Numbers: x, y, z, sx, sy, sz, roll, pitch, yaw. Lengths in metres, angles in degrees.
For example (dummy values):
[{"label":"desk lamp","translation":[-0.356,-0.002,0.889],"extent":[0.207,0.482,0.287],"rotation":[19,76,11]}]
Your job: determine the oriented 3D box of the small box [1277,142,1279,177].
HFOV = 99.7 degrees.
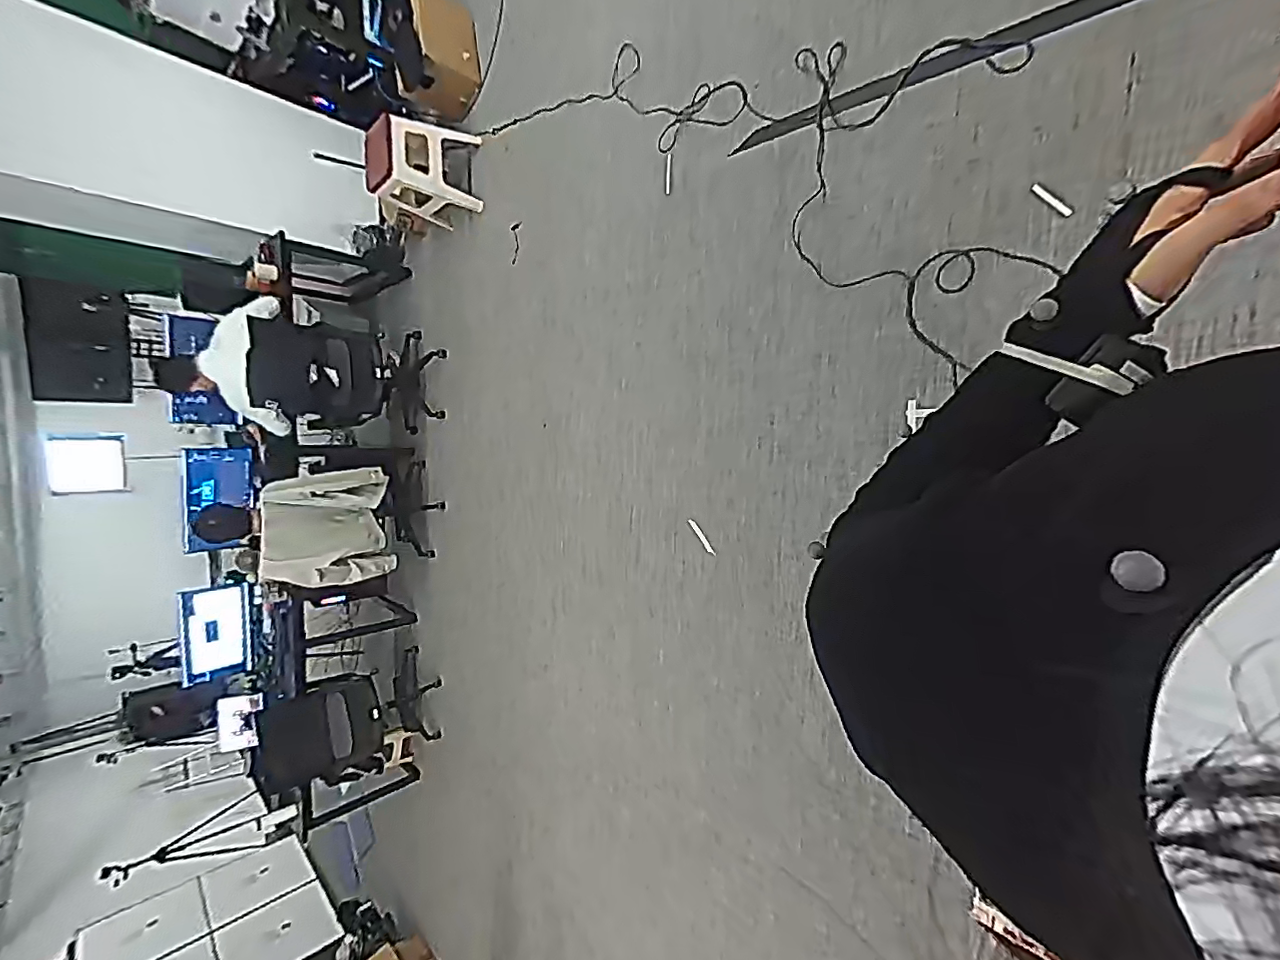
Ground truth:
[{"label":"small box","translation":[0.460,-0.256,0.267],"extent":[0.168,0.176,0.179],"rotation":[14,114,45]}]
